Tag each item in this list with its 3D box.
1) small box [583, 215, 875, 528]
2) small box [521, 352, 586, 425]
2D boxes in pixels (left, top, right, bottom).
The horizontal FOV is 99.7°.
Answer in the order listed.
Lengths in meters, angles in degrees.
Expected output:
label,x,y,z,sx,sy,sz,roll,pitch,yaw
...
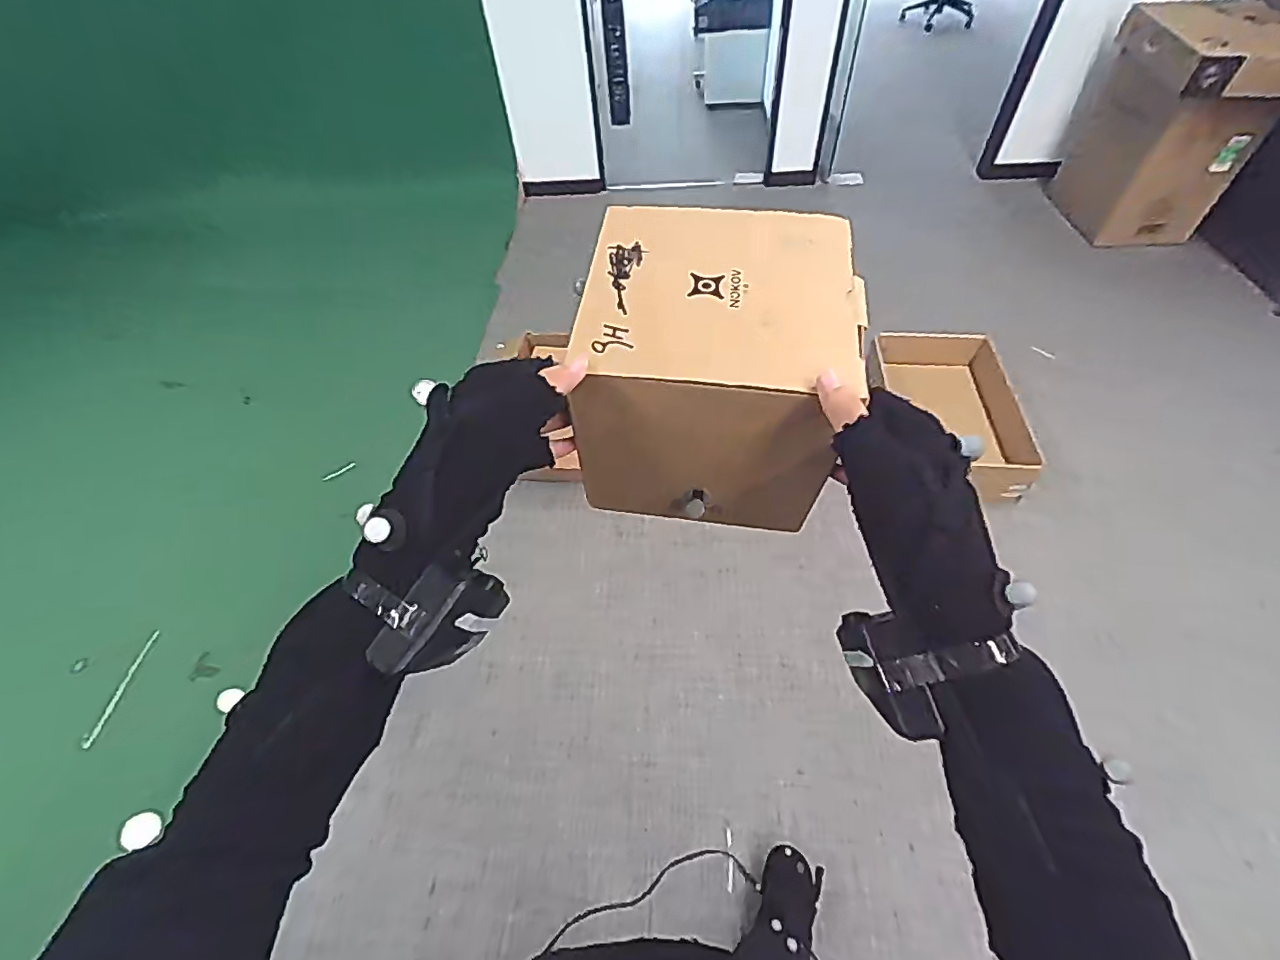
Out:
label,x,y,z,sx,sy,sz,roll,pitch,yaw
small box,0.061,-0.076,0.427,0.179,0.176,0.168,8,56,4
small box,-0.274,-0.298,1.784,0.179,0.176,0.168,5,51,6
